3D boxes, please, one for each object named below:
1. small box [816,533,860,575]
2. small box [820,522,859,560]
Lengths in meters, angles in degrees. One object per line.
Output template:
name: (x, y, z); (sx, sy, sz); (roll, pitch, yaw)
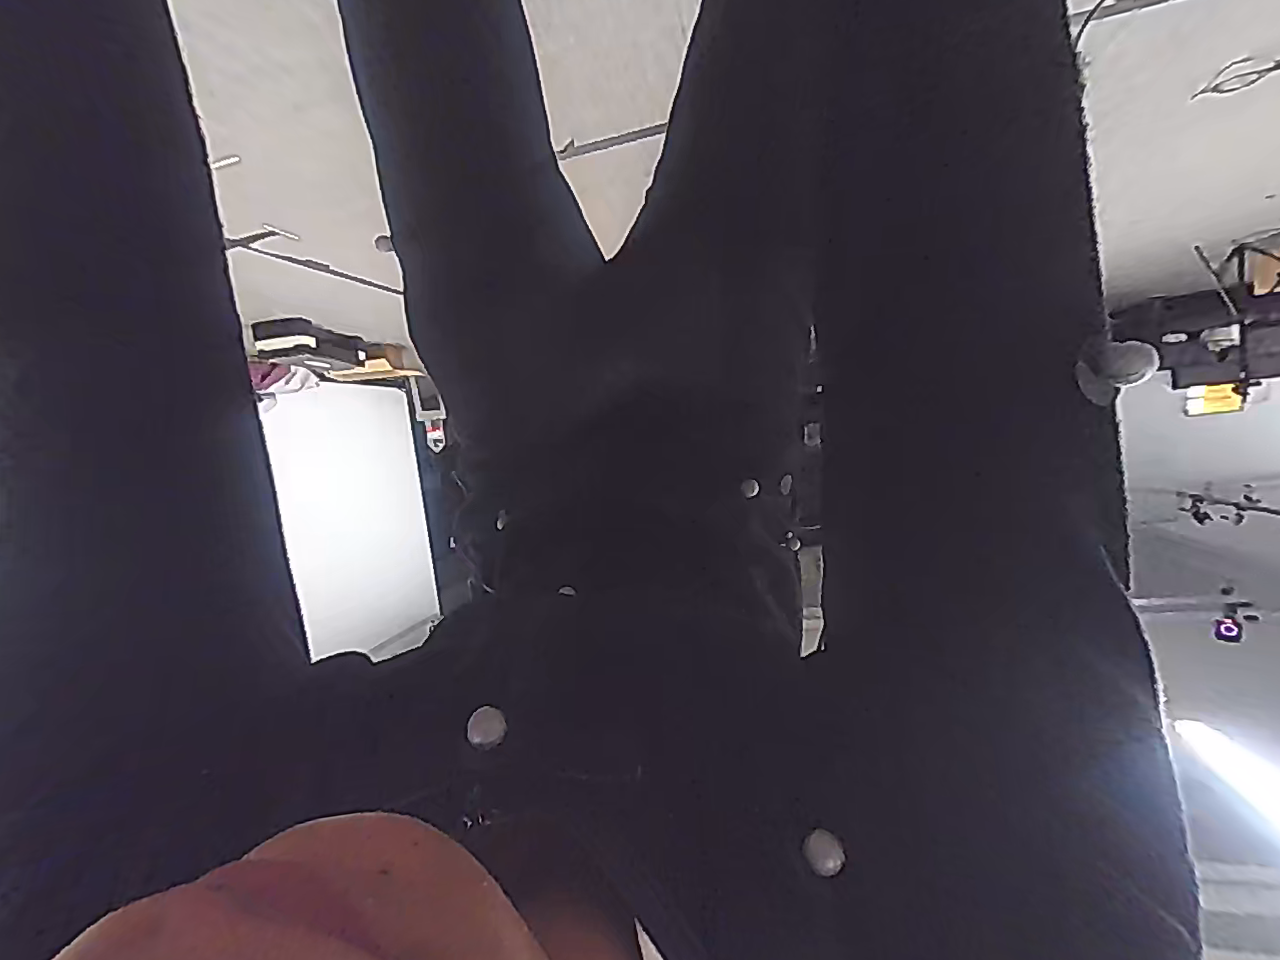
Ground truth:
small box: (0.945, 0.351, 2.596); (0.179, 0.176, 0.168); (-6, -175, 15)
small box: (1.042, 0.319, 2.828); (0.168, 0.176, 0.179); (-6, -175, 15)
